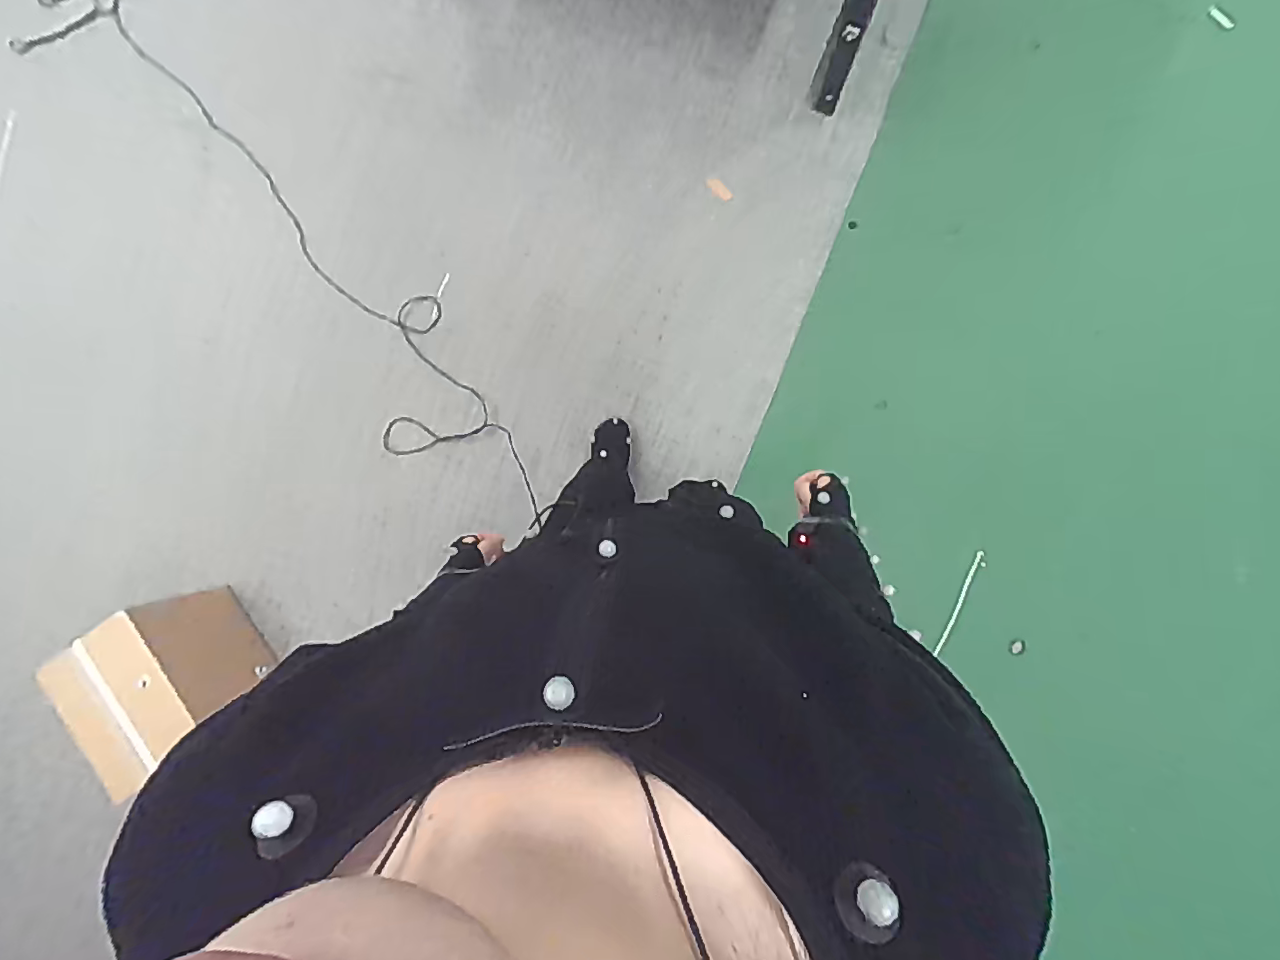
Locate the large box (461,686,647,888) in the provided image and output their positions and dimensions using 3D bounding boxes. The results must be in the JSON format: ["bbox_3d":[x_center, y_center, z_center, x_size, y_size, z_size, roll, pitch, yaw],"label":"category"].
[{"bbox_3d":[-0.206,0.765,1.402,0.408,0.320,0.320,7,93,5],"label":"large box"}]
